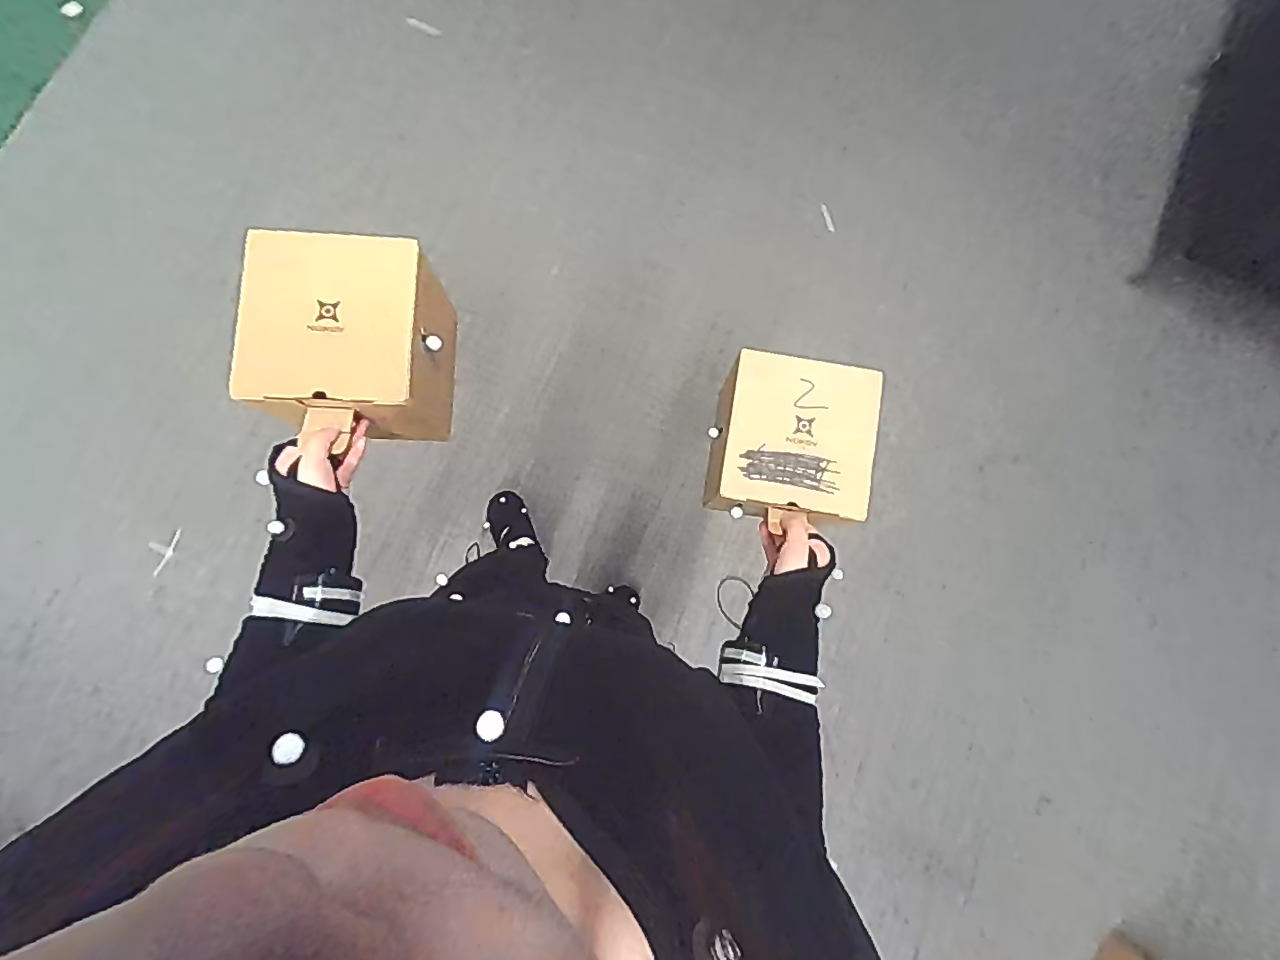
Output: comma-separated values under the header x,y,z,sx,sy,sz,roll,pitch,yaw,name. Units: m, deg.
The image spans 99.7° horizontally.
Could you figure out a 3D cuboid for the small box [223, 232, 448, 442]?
x,y,z,sx,sy,sz,roll,pitch,yaw,name
-0.321,-0.147,0.609,0.168,0.176,0.179,1,83,-6,small box
